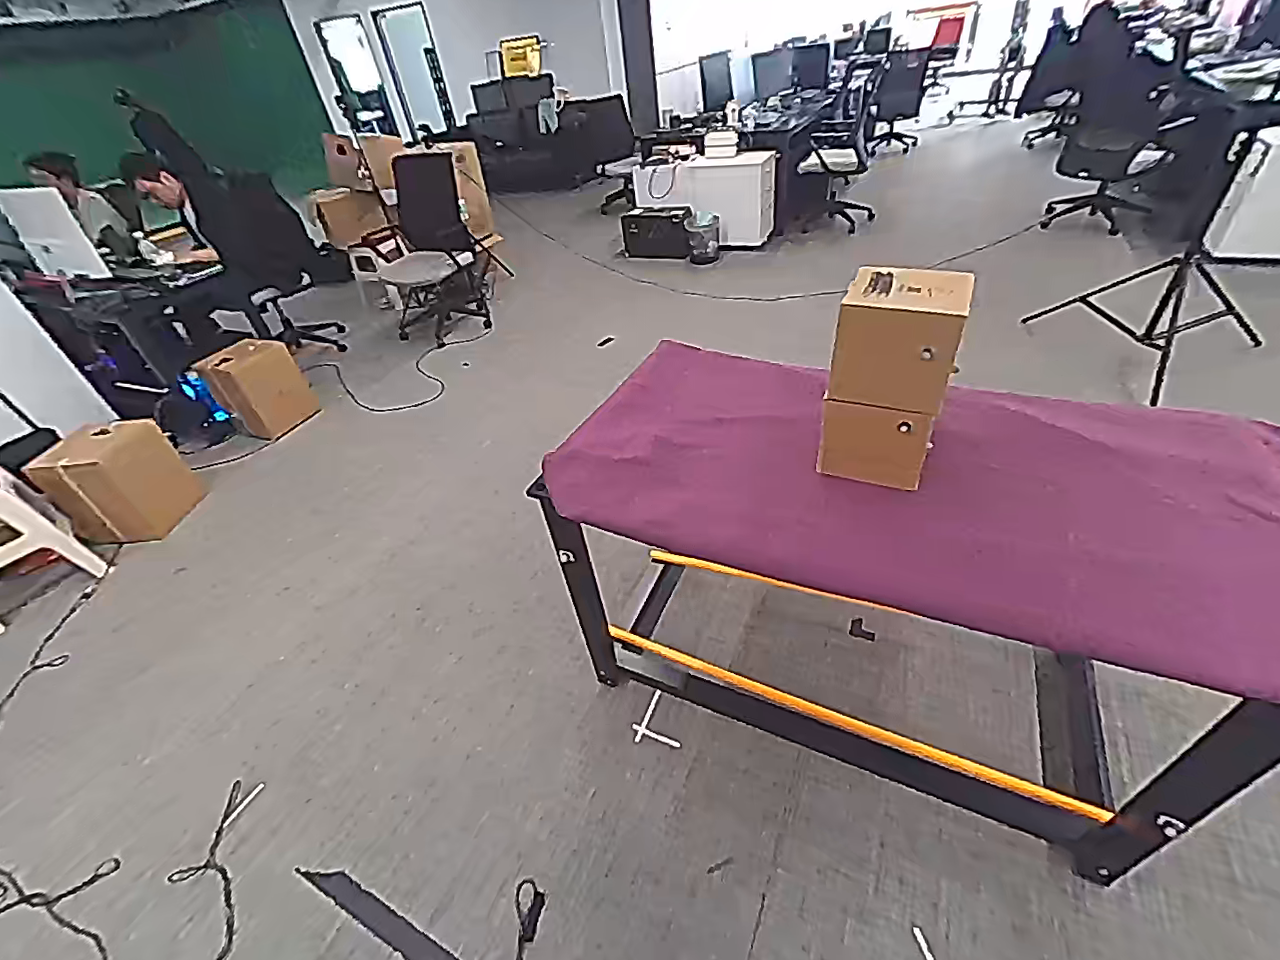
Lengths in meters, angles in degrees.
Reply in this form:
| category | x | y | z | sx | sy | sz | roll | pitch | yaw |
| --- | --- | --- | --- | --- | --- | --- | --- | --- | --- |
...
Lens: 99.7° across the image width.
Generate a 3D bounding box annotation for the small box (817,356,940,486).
| category | x | y | z | sx | sy | sz | roll | pitch | yaw |
| --- | --- | --- | --- | --- | --- | --- | --- | --- | --- |
| small box | 0.434 | -0.109 | 0.996 | 0.179 | 0.176 | 0.168 | 13 | 44 | 23 |
